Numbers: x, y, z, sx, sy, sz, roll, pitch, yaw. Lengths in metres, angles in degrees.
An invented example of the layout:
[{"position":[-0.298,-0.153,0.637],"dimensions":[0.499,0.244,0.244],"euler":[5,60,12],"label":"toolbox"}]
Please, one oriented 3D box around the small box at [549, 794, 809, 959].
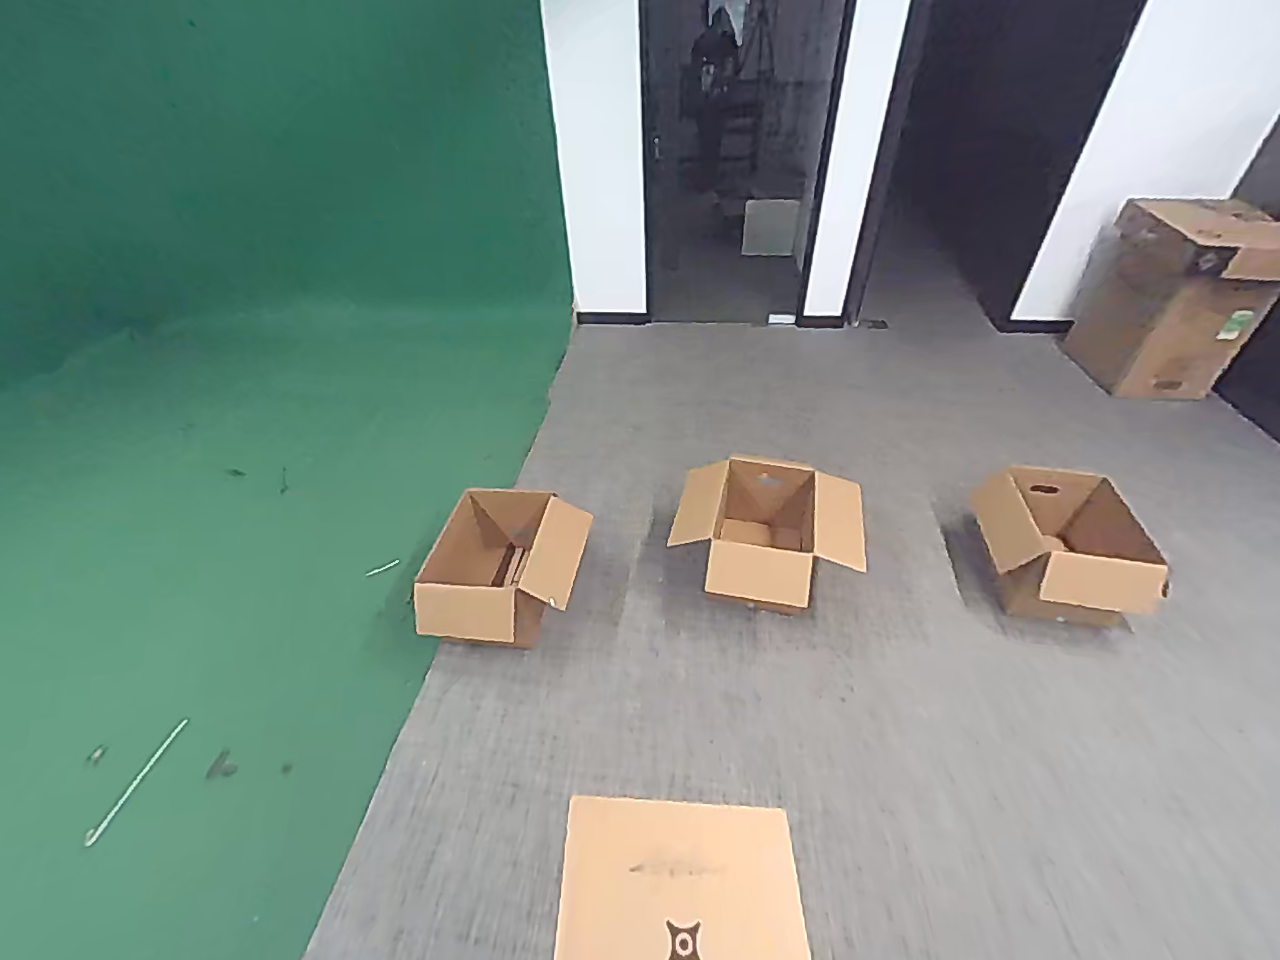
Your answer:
[{"position":[0.017,0.356,0.390],"dimensions":[0.168,0.176,0.179],"euler":[6,40,-5],"label":"small box"}]
